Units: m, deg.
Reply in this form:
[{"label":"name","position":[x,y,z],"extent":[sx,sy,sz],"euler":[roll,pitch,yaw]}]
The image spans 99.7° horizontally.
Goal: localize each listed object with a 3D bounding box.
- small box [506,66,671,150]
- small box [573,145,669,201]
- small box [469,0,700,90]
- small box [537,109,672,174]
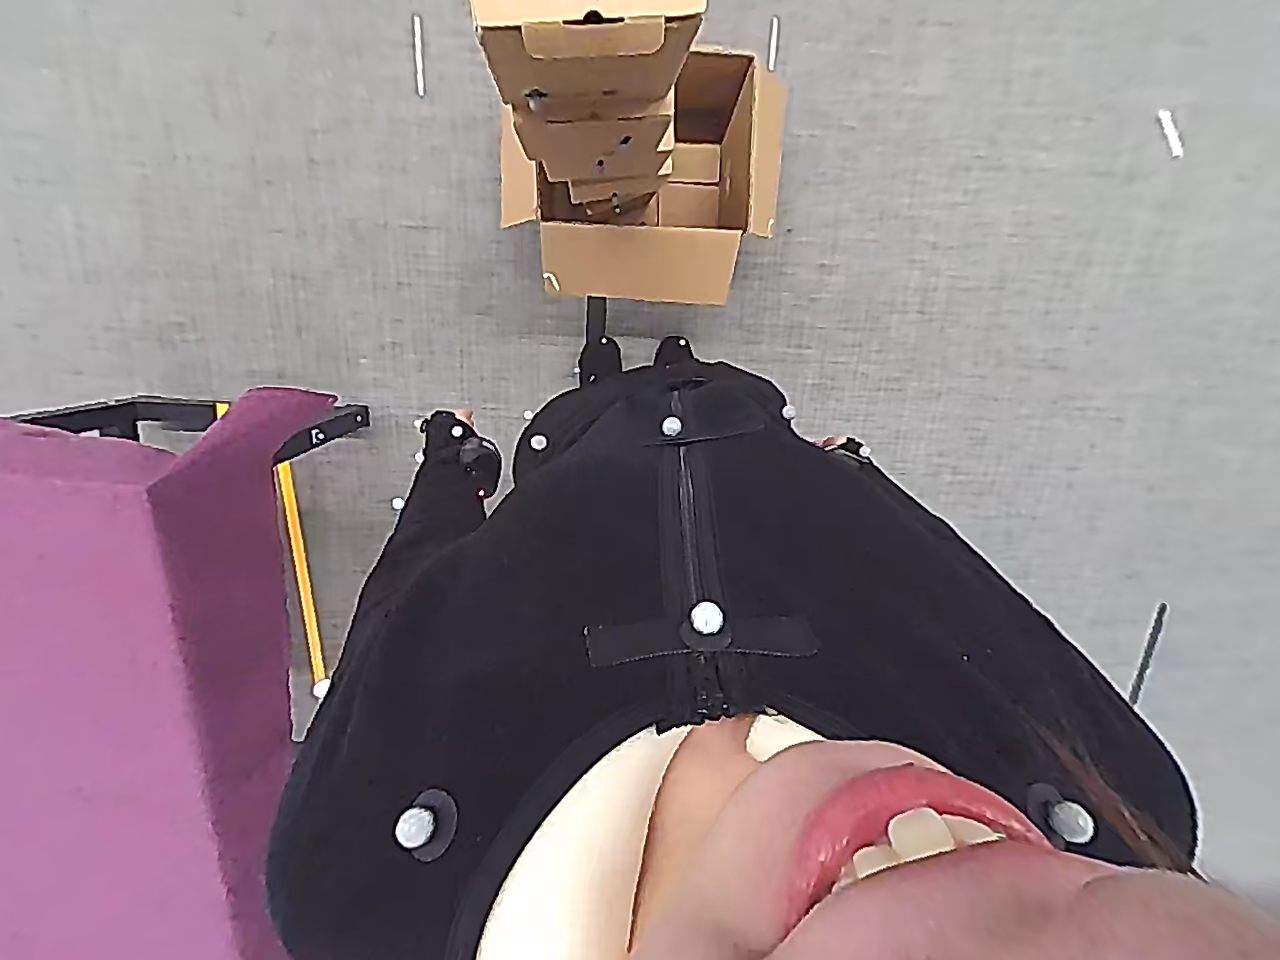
[{"label":"small box","position":[-0.059,-0.472,0.586],"extent":[0.168,0.176,0.179],"euler":[-5,110,-5]},{"label":"small box","position":[-0.058,-0.659,1.043],"extent":[0.179,0.176,0.168],"euler":[-19,110,0]},{"label":"small box","position":[-0.050,-0.433,0.426],"extent":[0.168,0.176,0.179],"euler":[-6,110,-5]},{"label":"small box","position":[-0.056,-0.528,0.740],"extent":[0.179,0.176,0.168],"euler":[-6,111,-4]}]
